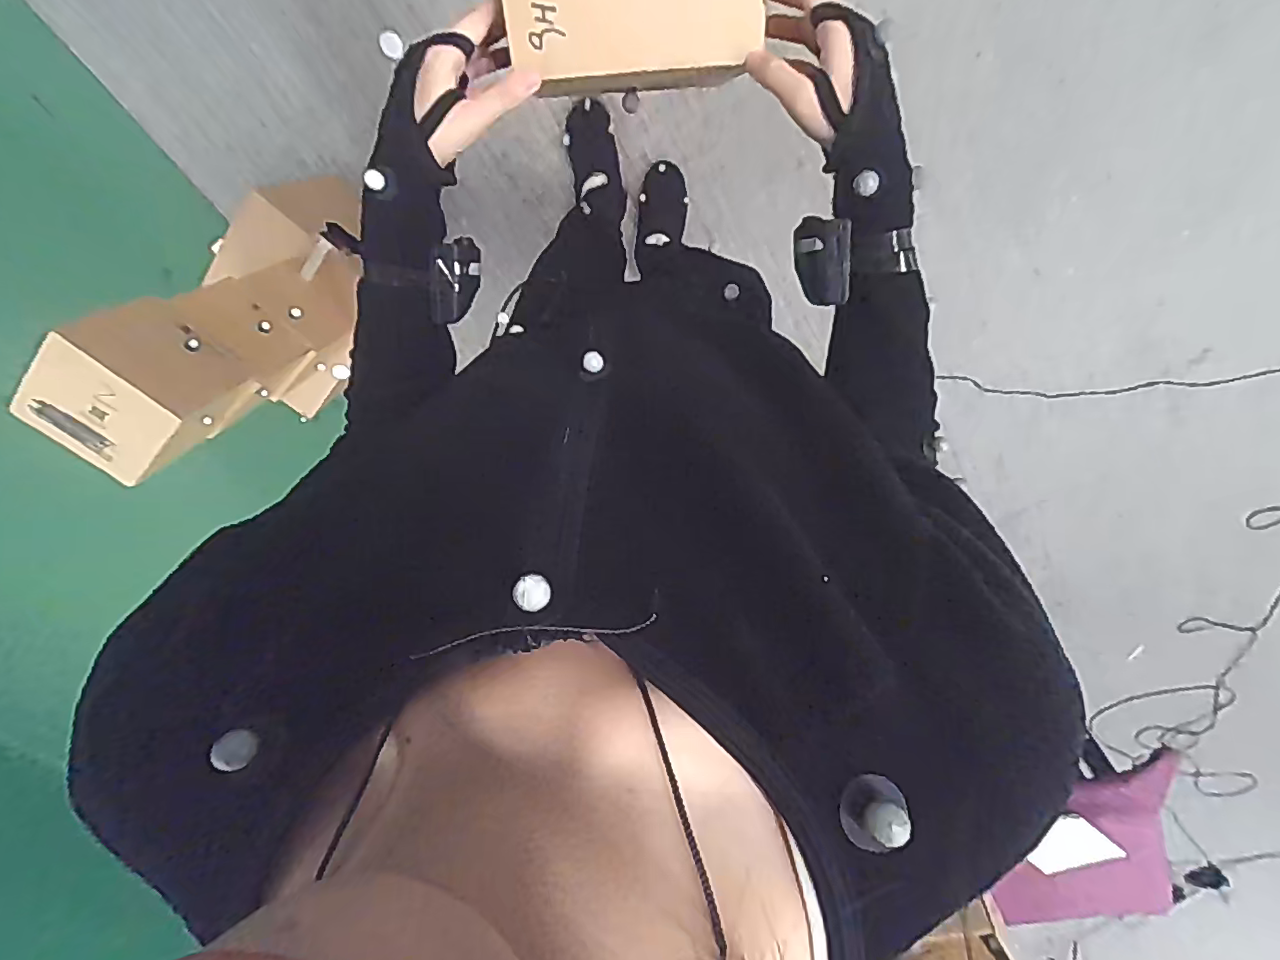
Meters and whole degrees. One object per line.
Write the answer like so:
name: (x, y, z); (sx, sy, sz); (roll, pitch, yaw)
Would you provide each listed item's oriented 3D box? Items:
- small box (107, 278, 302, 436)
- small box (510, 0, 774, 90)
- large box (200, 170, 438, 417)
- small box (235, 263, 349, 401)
small box: (-0.728, -0.213, 0.926); (0.179, 0.176, 0.168); (-33, 116, 21)
small box: (-0.008, -0.393, 0.392); (0.179, 0.176, 0.168); (-5, 121, -3)
large box: (-0.751, -0.436, 1.269); (0.320, 0.320, 0.408); (40, 118, -20)
small box: (-0.720, -0.296, 1.066); (0.168, 0.176, 0.179); (-35, 116, 22)
